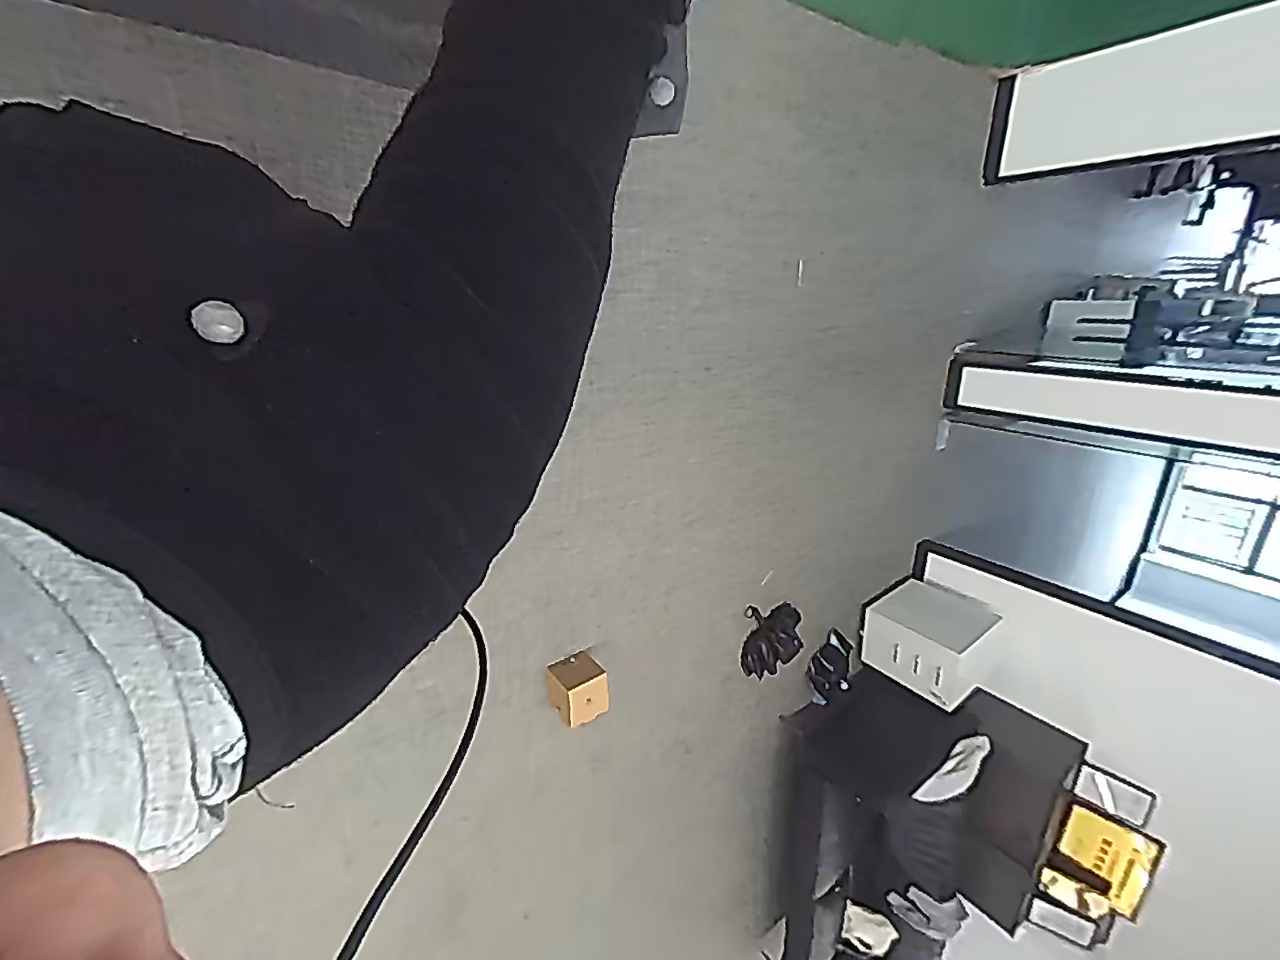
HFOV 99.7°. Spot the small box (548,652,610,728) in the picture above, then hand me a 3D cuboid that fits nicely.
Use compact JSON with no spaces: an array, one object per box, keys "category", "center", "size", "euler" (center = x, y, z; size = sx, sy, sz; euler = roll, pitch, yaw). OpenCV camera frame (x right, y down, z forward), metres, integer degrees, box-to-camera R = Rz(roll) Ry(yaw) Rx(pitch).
[{"category":"small box","center":[-0.231,0.783,2.034],"size":[0.168,0.176,0.179],"euler":[-18,114,-35]}]
